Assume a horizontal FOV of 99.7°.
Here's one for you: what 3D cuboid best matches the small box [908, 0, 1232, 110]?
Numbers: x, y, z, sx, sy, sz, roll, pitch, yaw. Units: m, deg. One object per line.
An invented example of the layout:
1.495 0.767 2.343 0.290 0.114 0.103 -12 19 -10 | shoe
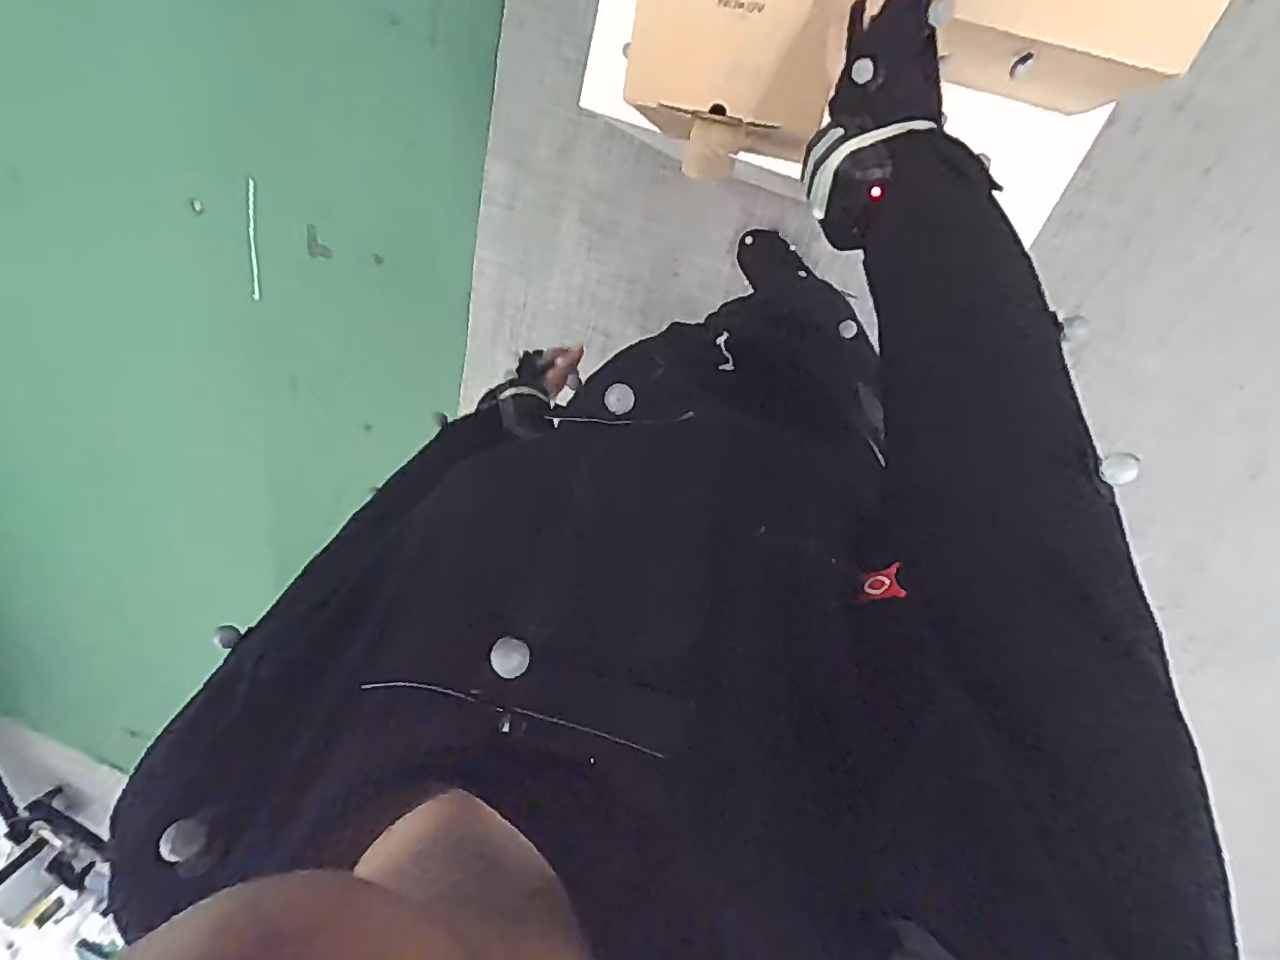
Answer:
0.330 -0.403 0.406 0.179 0.176 0.168 20 120 6 | small box
